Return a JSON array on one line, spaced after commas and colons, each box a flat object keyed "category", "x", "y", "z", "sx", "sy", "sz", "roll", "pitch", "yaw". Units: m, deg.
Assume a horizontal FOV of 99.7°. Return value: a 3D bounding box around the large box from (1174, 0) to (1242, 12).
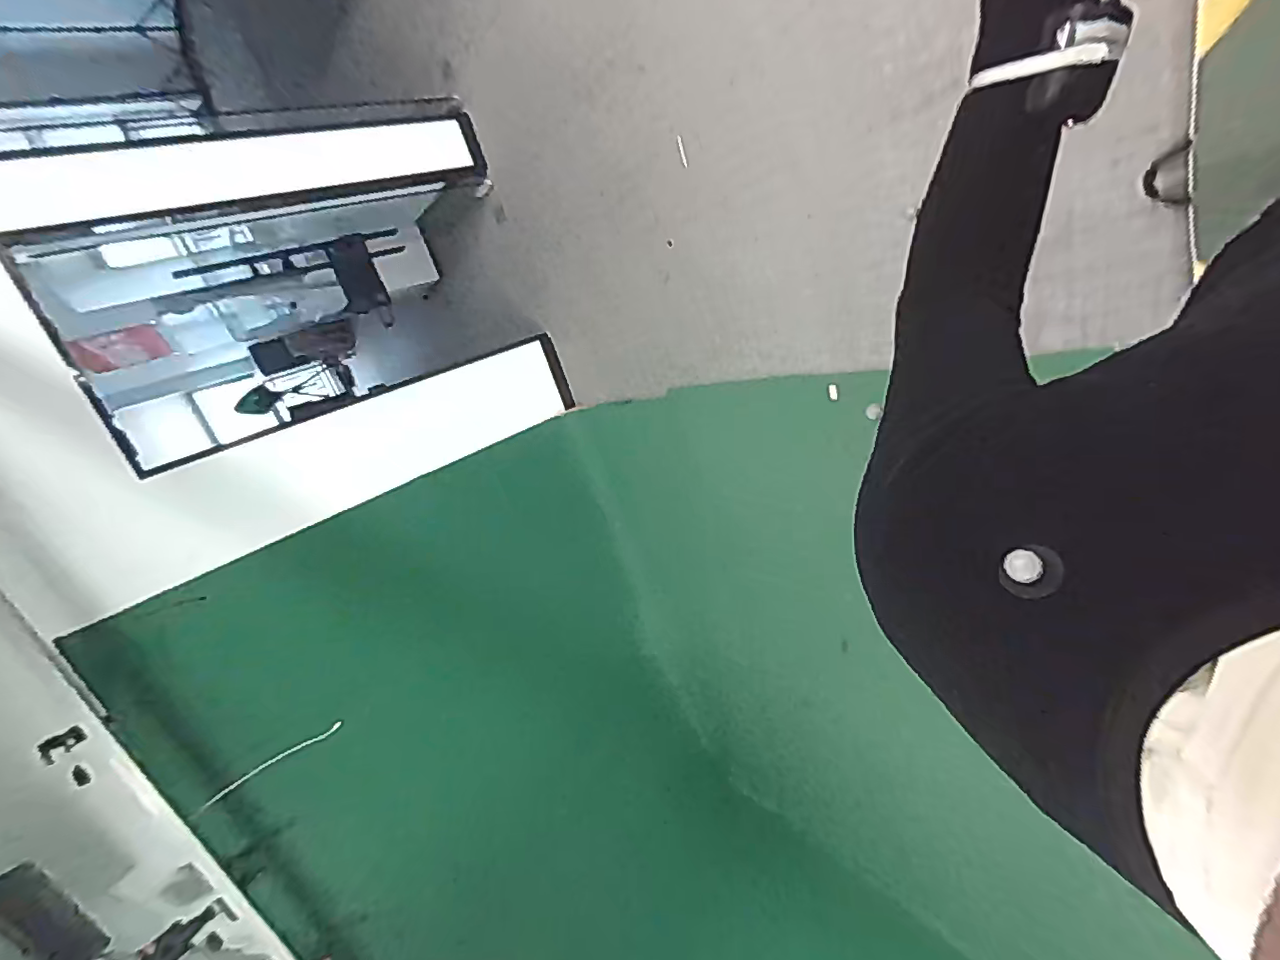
[{"category": "large box", "x": 0.525, "y": -0.521, "z": 0.254, "sx": 0.408, "sy": 0.320, "sz": 0.320, "roll": 9, "pitch": 122, "yaw": 51}]
